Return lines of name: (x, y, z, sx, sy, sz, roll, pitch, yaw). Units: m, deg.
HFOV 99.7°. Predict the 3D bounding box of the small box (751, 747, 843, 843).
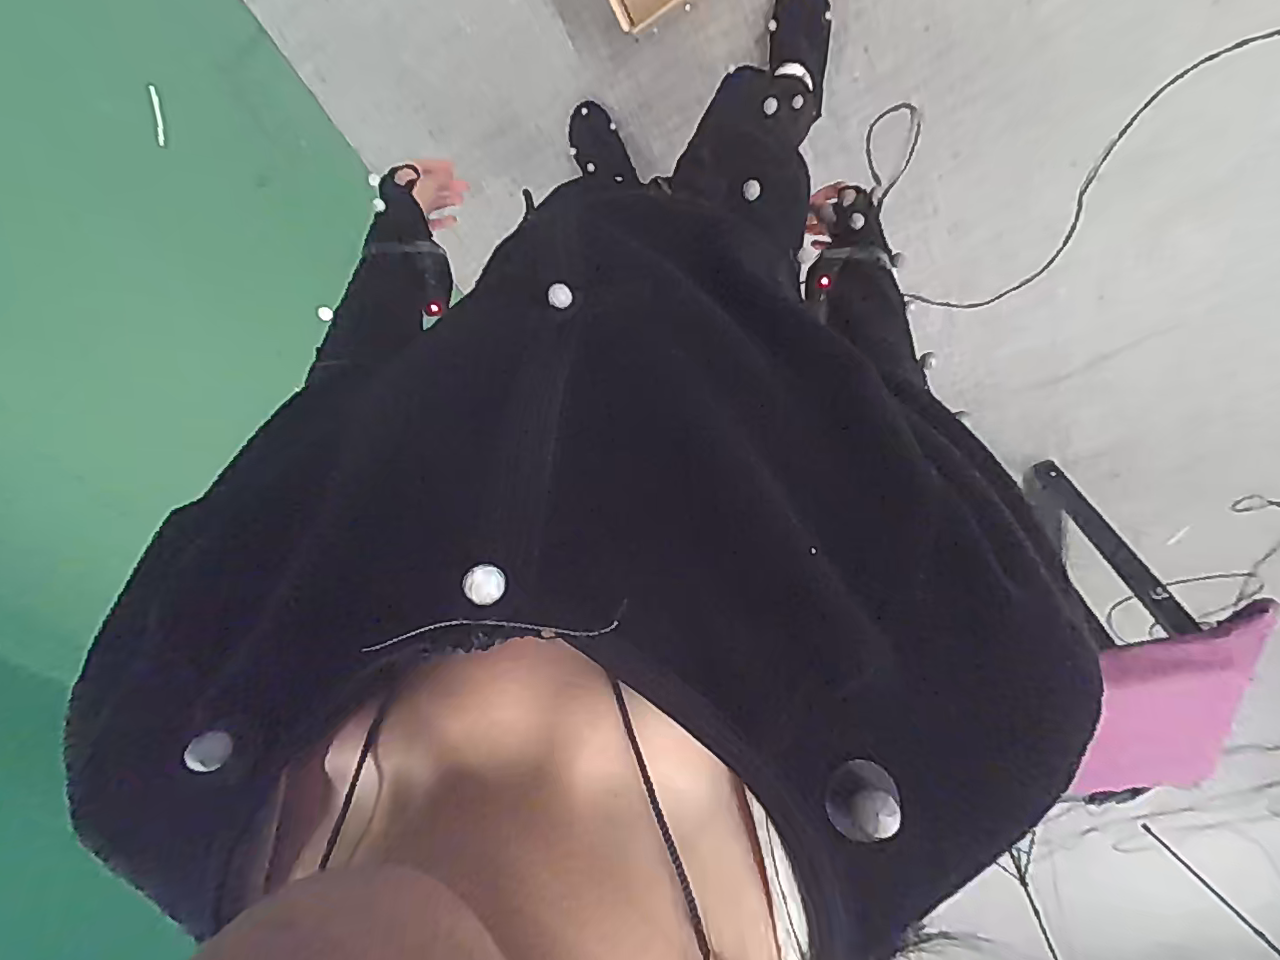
small box: (0.408, 0.825, 1.422, 0.179, 0.176, 0.168, -22, 125, 20)
